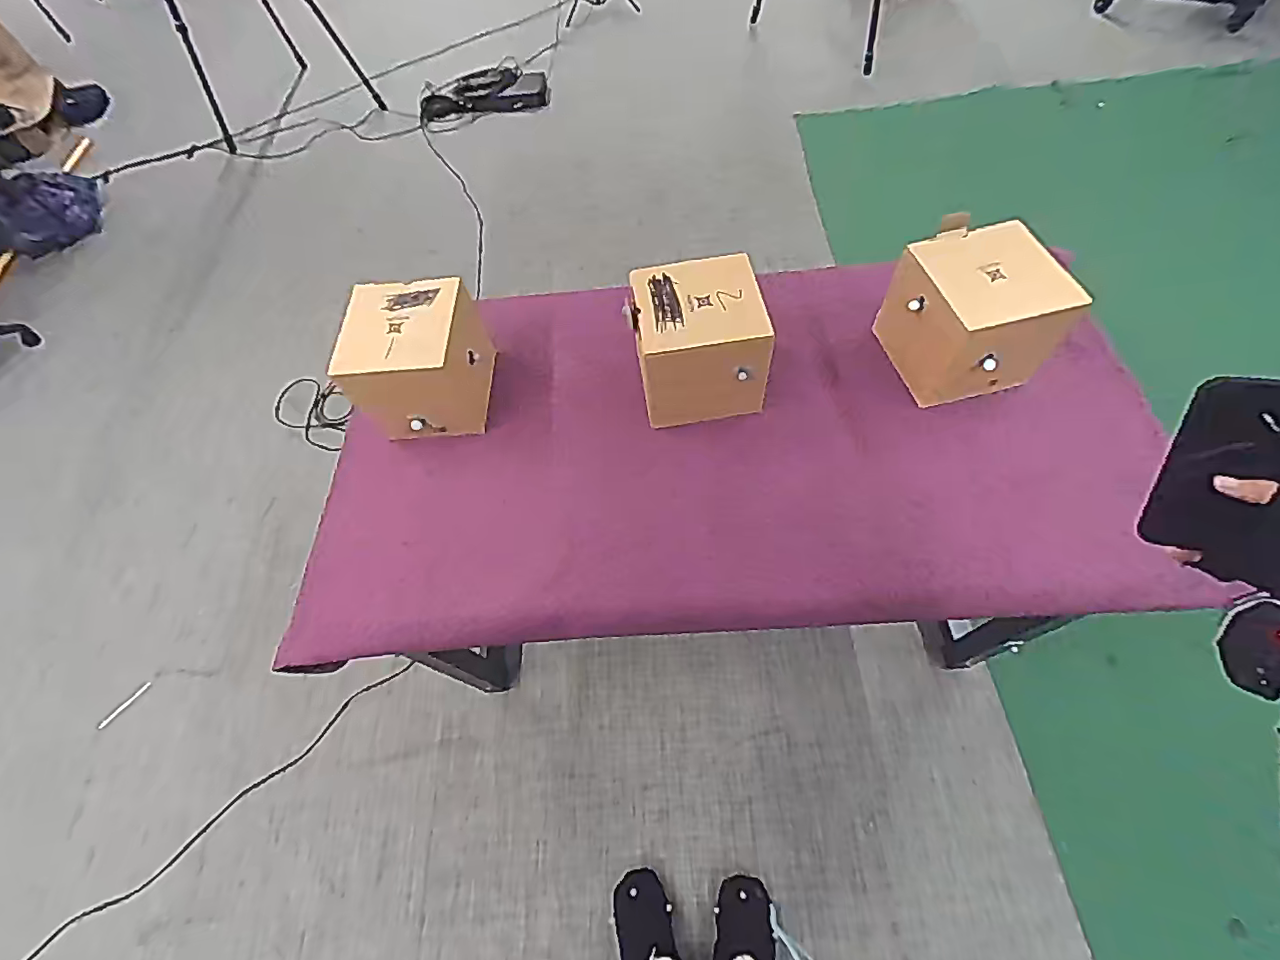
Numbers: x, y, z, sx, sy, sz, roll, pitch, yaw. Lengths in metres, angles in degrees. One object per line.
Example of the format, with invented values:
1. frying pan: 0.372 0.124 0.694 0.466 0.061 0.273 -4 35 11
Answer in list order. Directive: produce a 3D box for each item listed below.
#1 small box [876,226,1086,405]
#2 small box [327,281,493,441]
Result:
1. small box: 0.473 -0.228 0.786 0.168 0.176 0.179 -13 59 -1
2. small box: -0.338 -0.179 0.835 0.168 0.176 0.179 -3 62 4
